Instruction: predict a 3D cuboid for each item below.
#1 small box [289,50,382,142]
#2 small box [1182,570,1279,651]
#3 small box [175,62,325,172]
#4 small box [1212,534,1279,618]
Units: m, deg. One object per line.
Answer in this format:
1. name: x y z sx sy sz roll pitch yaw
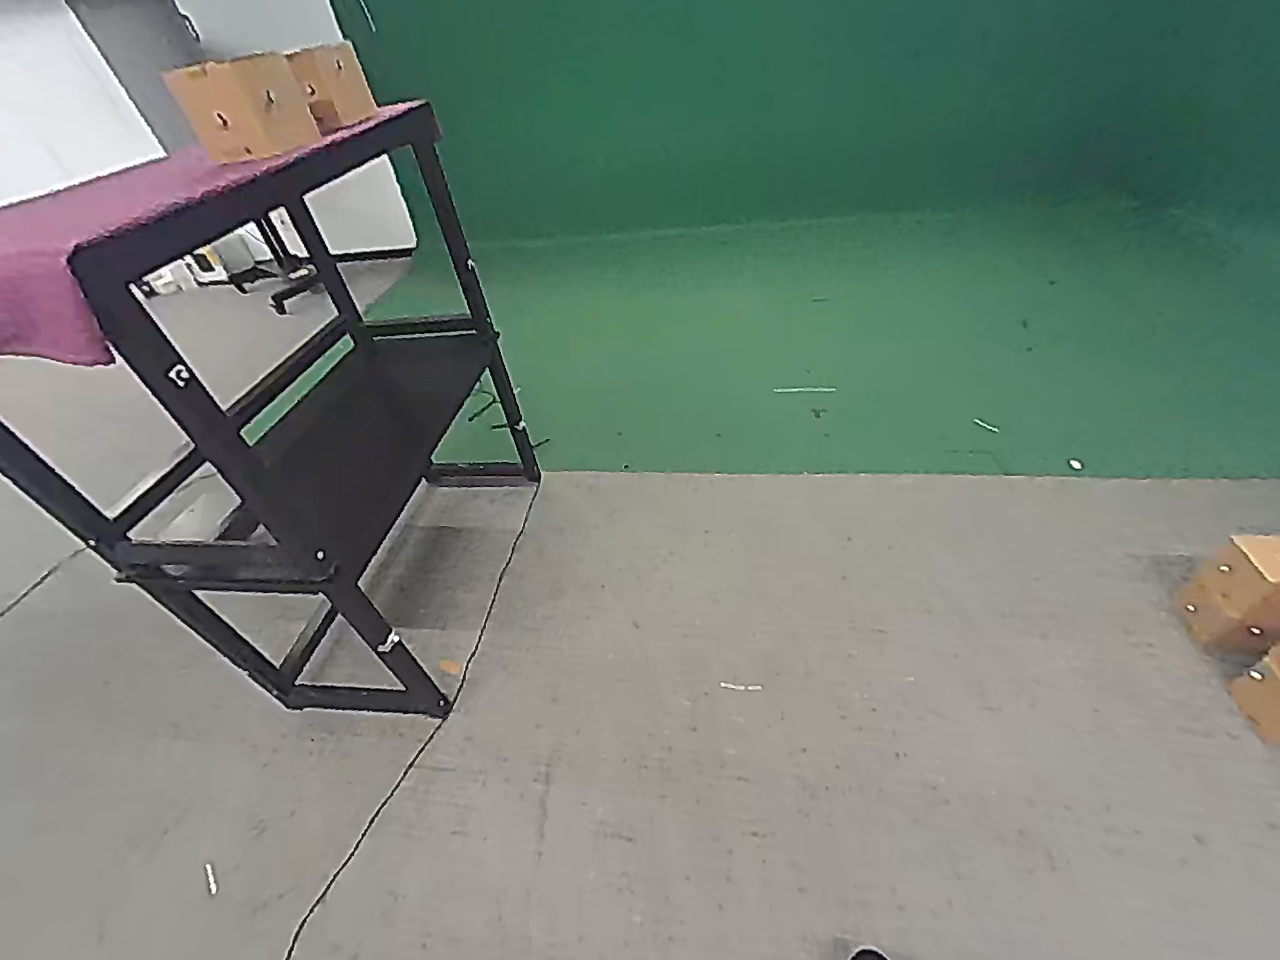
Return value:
1. small box: -0.822 -1.008 1.429 0.168 0.176 0.179 1 43 14
2. small box: 1.748 0.382 1.576 0.179 0.176 0.168 2 43 13
3. small box: -0.849 -0.800 1.202 0.168 0.176 0.179 0 43 12
4. small box: 1.727 0.264 1.467 0.179 0.176 0.168 0 42 11
